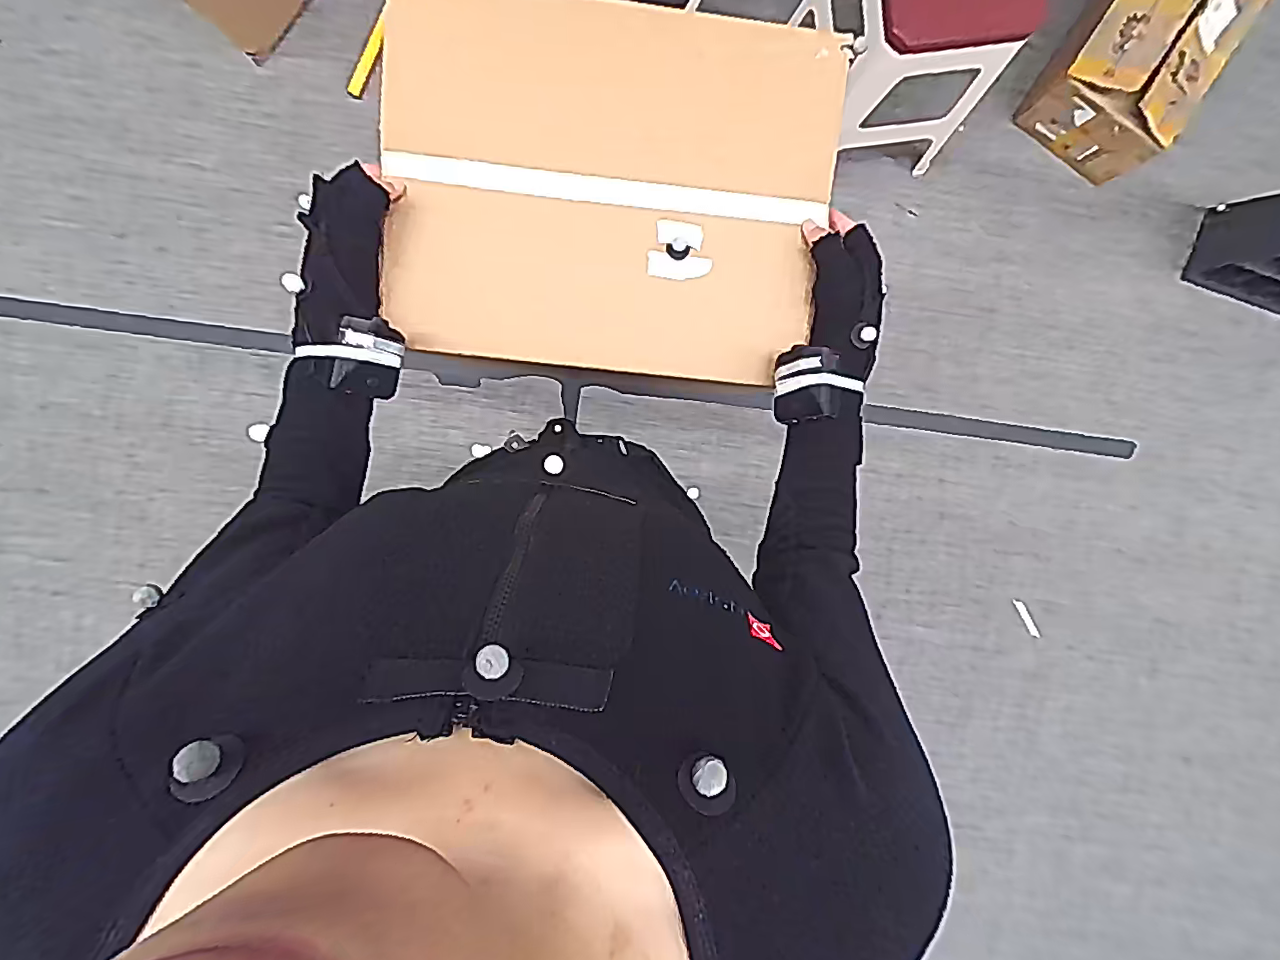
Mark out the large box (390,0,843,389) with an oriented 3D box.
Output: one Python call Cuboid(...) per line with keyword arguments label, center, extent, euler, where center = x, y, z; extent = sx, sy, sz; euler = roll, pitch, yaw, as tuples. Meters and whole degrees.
Cuboid(label="large box", center=(-0.034, -0.284, 0.644), extent=(0.408, 0.320, 0.320), euler=(5, 98, -4))
